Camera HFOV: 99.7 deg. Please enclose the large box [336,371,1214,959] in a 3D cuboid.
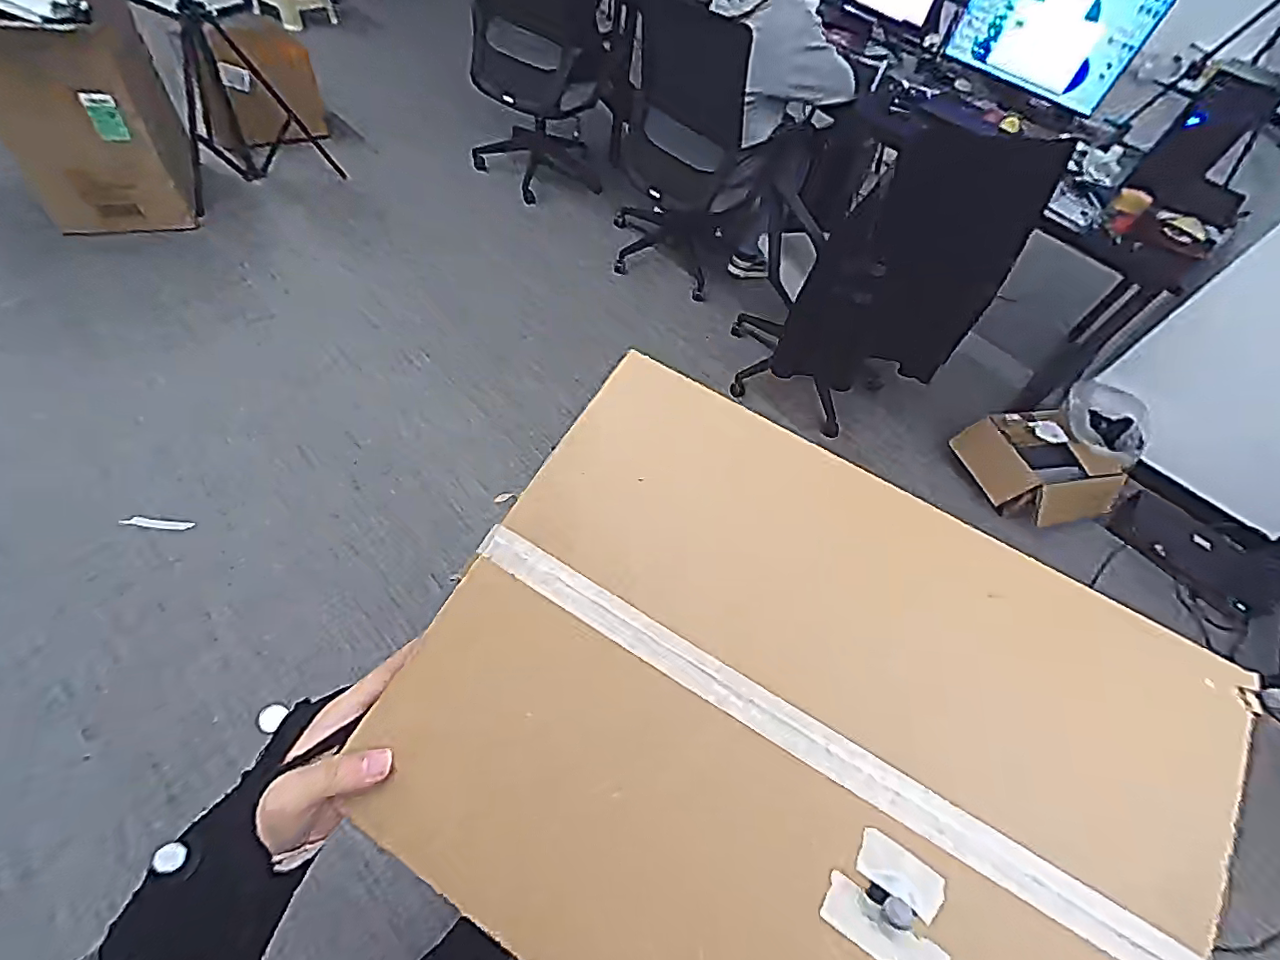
[{"bbox_3d":[0.082,0.187,0.435,0.408,0.320,0.320,29,73,10],"label":"large box"}]
